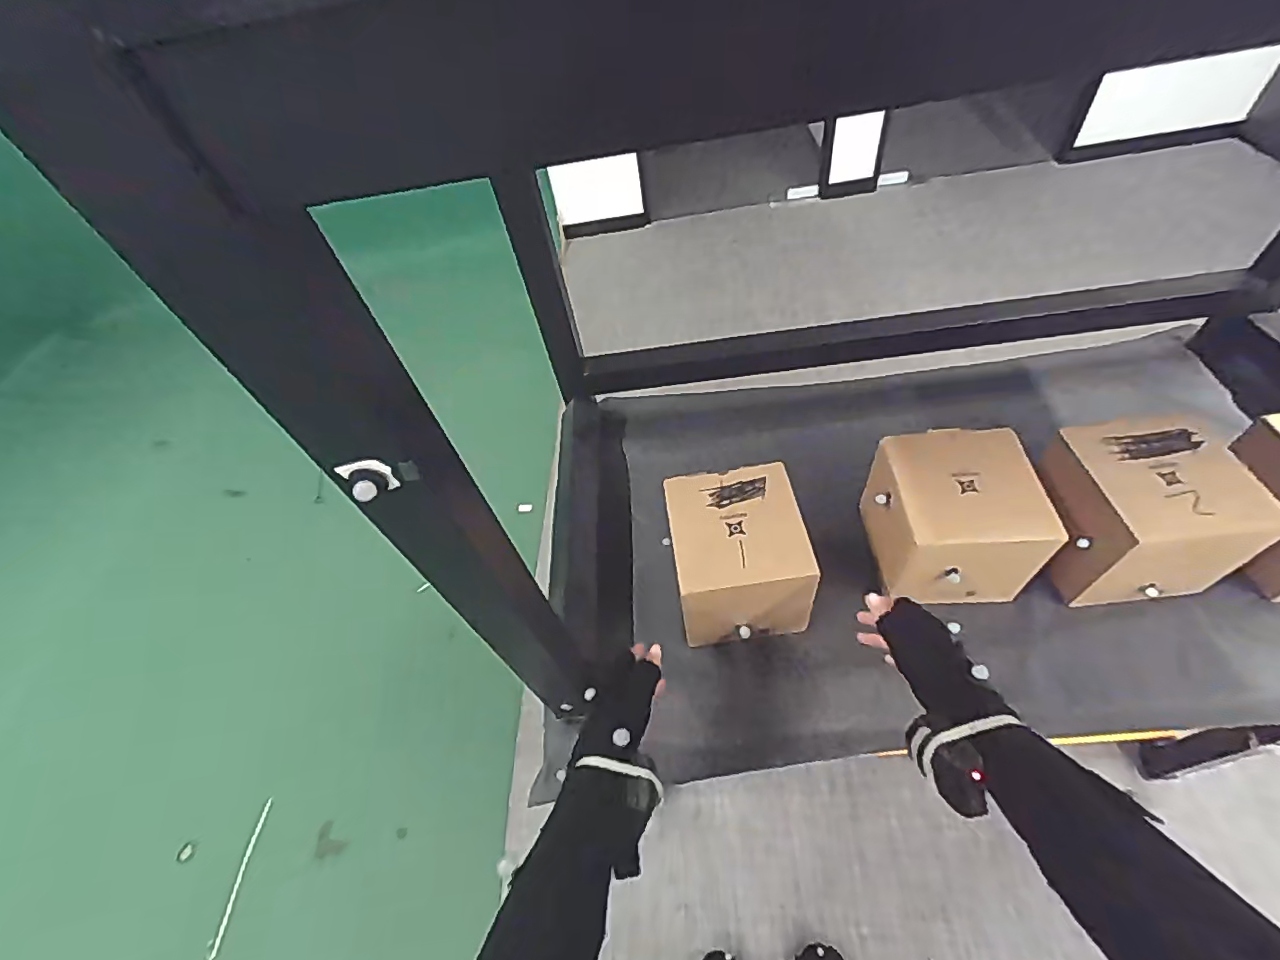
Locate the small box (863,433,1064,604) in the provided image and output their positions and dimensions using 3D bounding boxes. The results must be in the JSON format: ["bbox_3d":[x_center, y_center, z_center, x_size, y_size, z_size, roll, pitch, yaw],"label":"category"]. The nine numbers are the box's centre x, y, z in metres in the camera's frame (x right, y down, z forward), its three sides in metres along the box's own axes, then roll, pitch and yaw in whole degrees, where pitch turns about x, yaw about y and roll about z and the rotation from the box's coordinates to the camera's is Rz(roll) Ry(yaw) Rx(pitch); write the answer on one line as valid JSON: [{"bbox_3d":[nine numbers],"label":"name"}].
[{"bbox_3d":[0.418,0.059,0.737,0.168,0.176,0.179,-3,51,7],"label":"small box"}]

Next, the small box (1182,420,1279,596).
[{"bbox_3d":[0.861,0.035,0.673,0.168,0.176,0.179,-7,51,4],"label":"small box"}]

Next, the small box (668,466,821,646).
[{"bbox_3d":[0.133,0.108,0.745,0.168,0.176,0.179,-9,52,3],"label":"small box"}]
